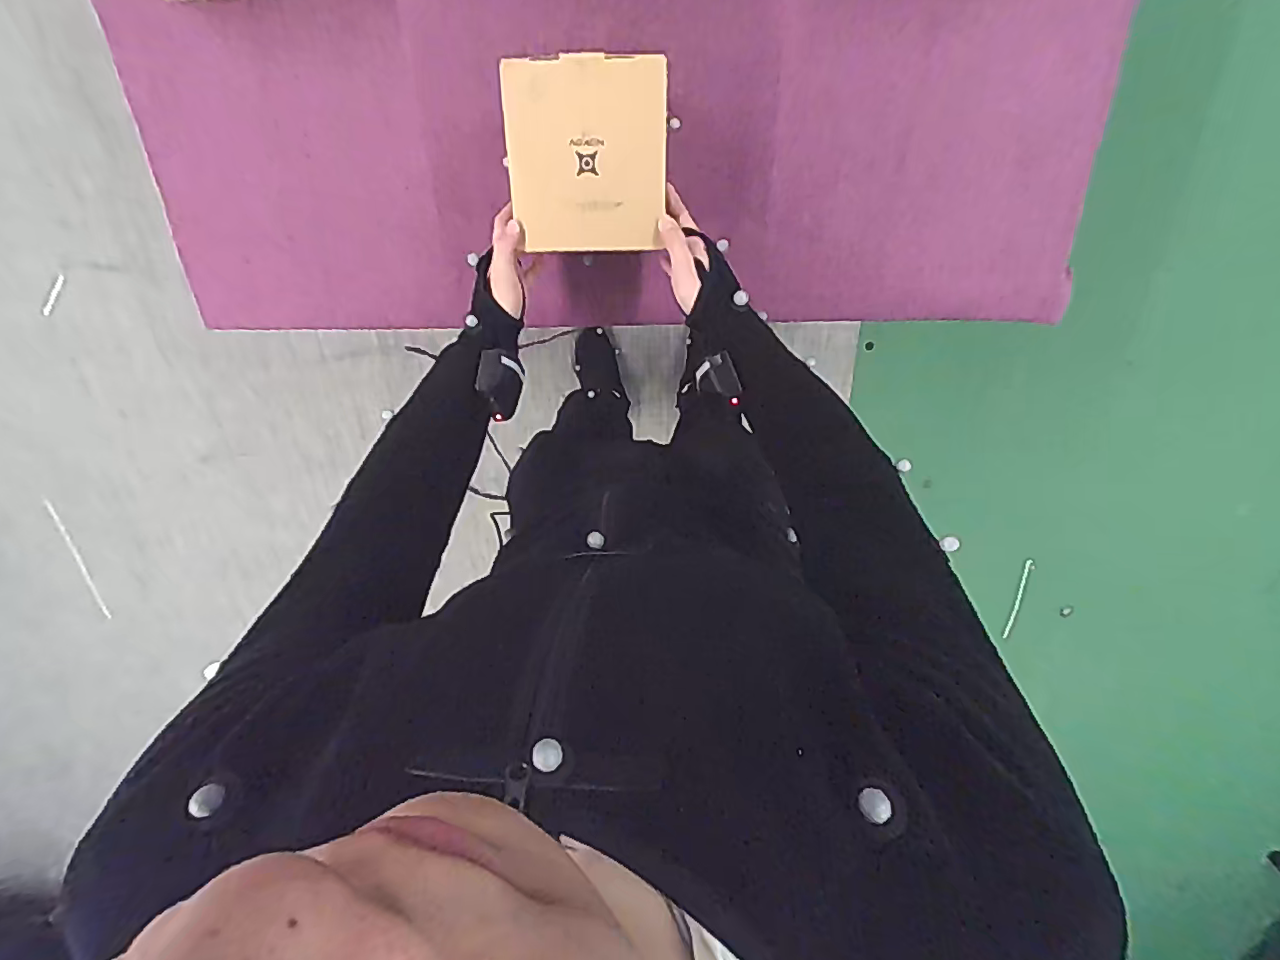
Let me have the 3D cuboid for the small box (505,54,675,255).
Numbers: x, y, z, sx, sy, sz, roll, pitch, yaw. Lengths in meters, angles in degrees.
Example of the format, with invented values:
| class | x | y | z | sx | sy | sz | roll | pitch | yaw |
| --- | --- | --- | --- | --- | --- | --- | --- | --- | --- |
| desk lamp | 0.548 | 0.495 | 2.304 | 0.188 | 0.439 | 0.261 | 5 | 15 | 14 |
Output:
| class | x | y | z | sx | sy | sz | roll | pitch | yaw |
| --- | --- | --- | --- | --- | --- | --- | --- | --- | --- |
| small box | -0.048 | -0.355 | 0.621 | 0.168 | 0.176 | 0.179 | 0 | 114 | 2 |
